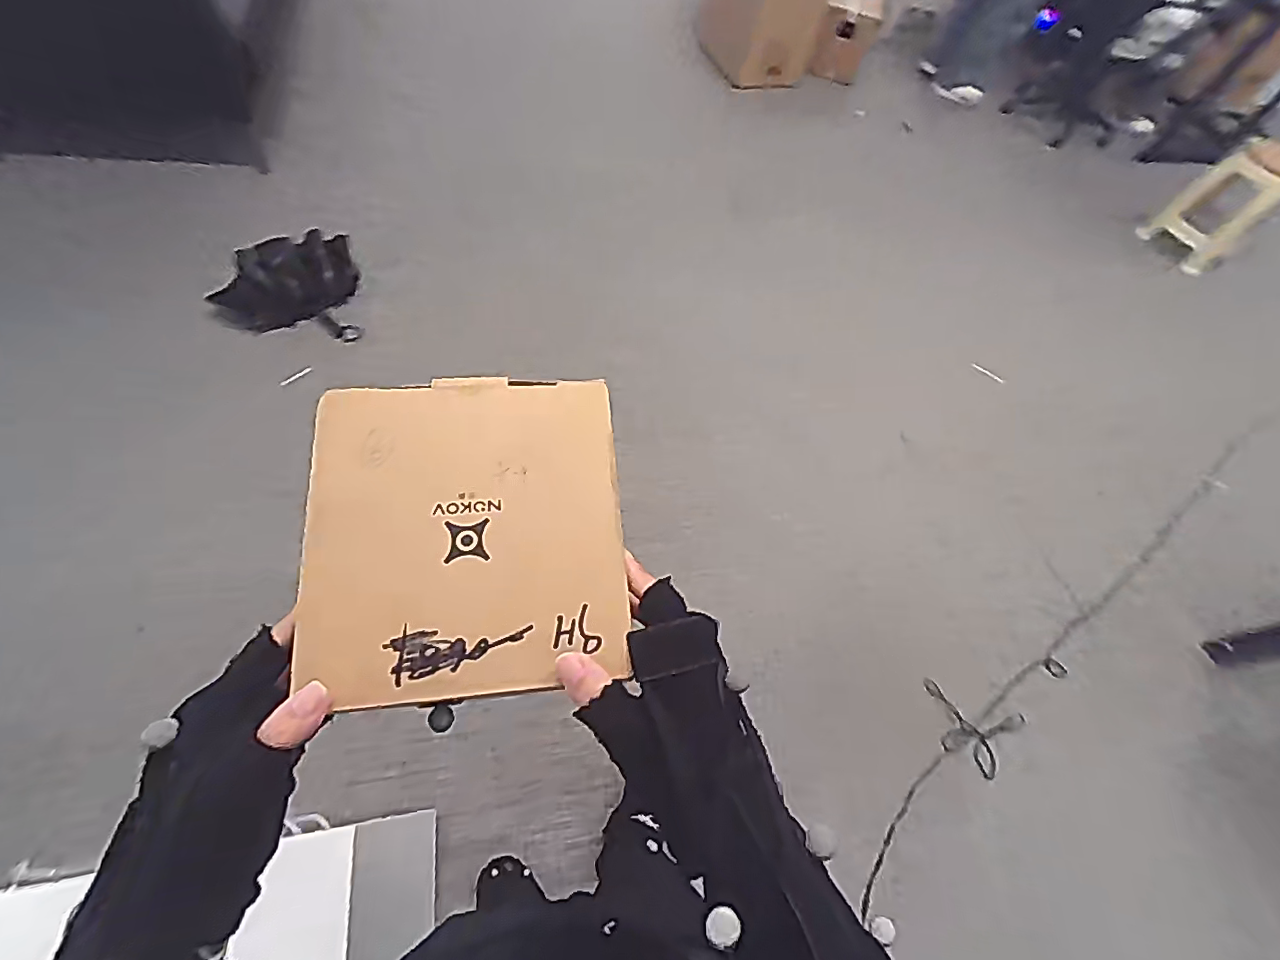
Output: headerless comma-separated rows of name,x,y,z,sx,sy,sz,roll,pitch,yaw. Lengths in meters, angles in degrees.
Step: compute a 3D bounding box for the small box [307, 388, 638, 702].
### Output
small box,-0.095,0.054,0.376,0.168,0.176,0.179,-3,68,-6
